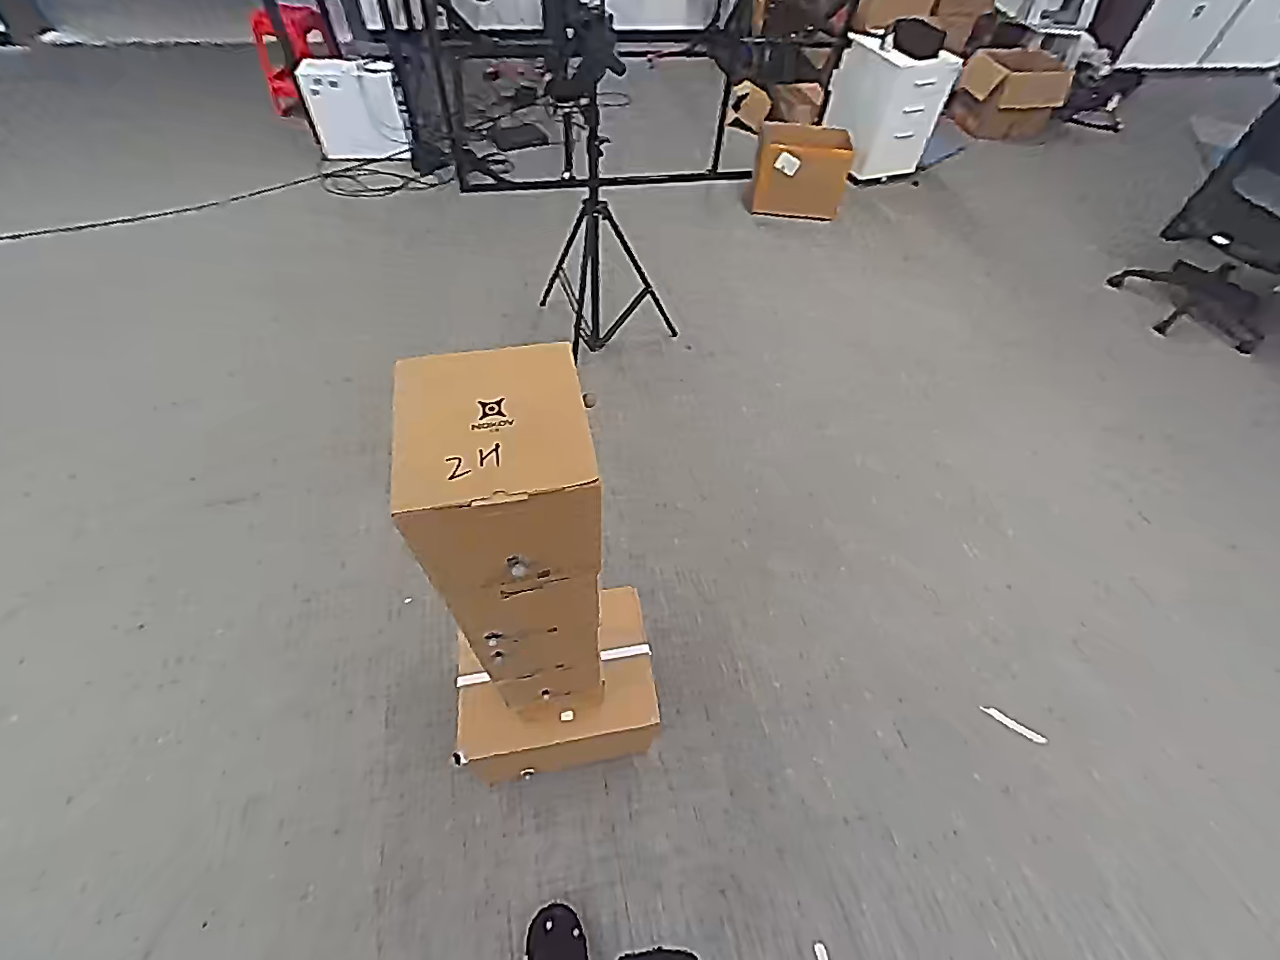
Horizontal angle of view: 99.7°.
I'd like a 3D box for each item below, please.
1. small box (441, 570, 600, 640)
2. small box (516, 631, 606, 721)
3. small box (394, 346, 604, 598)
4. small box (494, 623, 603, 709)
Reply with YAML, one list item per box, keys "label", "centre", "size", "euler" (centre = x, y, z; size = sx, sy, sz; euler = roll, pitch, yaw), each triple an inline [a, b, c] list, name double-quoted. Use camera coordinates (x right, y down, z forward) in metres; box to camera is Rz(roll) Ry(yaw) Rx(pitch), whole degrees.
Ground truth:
- label: "small box"
  centre: [-0.142, 0.088, 0.675]
  size: [0.168, 0.176, 0.179]
  euler: [-7, 55, -9]
- label: "small box"
  centre: [-0.167, 0.365, 1.079]
  size: [0.179, 0.176, 0.168]
  euler: [-9, 56, -11]
- label: "small box"
  centre: [-0.132, -0.006, 0.540]
  size: [0.168, 0.176, 0.179]
  euler: [-9, 56, -10]
- label: "small box"
  centre: [-0.160, 0.276, 0.943]
  size: [0.168, 0.176, 0.179]
  euler: [-9, 56, -10]
